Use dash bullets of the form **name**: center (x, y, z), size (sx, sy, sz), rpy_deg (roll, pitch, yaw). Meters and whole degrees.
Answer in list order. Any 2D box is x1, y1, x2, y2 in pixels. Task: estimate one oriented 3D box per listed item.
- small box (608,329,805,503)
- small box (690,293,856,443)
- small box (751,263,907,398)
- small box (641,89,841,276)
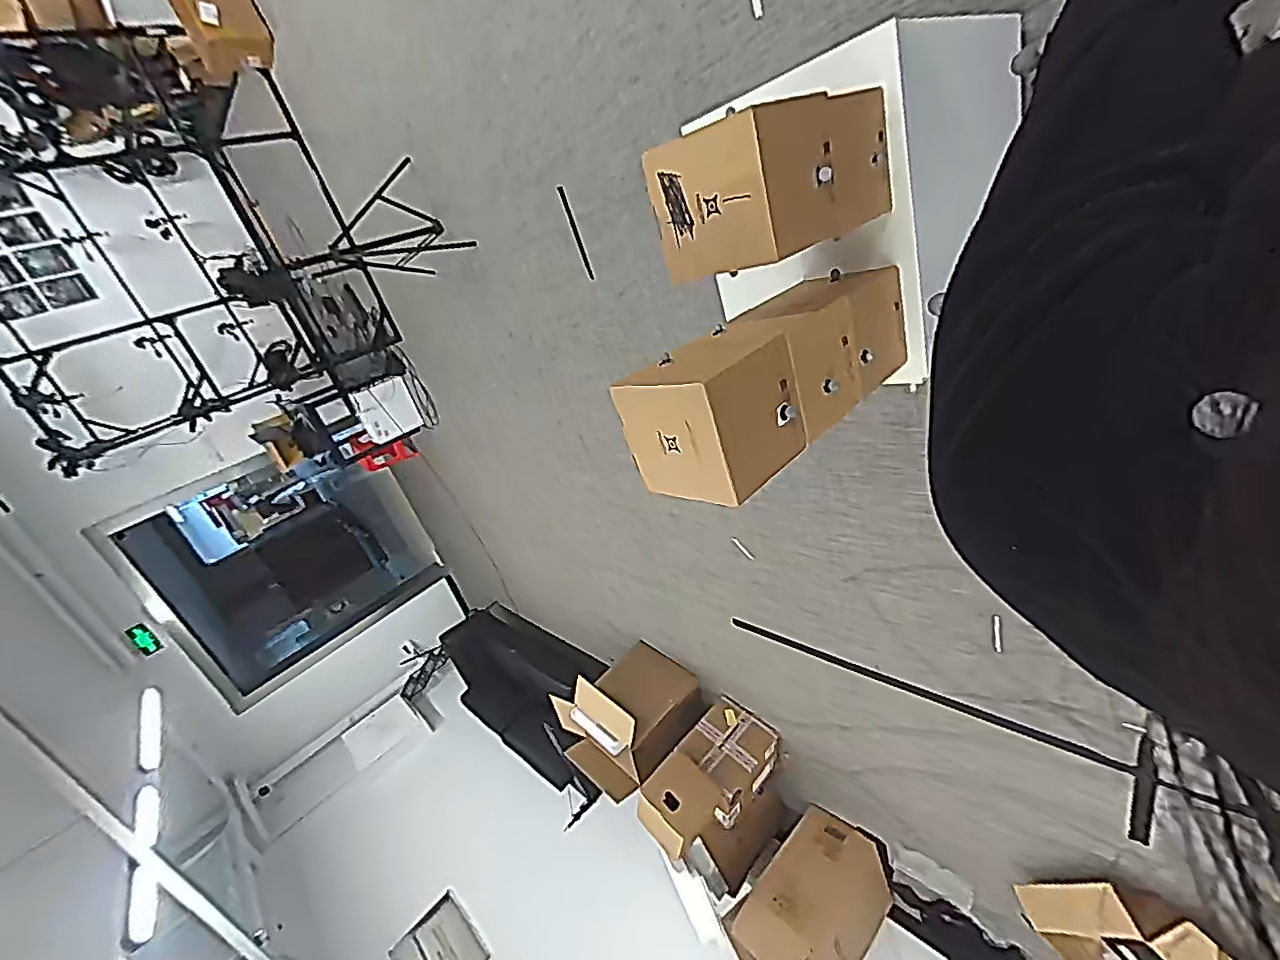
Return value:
- **small box**: center (0.092, -0.091, 0.728), size (0.179, 0.176, 0.168), rpy_deg (8, 126, 48)
- **small box**: center (0.206, -0.168, 0.814), size (0.179, 0.176, 0.168), rpy_deg (9, 127, 49)
- **small box**: center (0.318, -0.248, 0.903), size (0.179, 0.176, 0.168), rpy_deg (11, 128, 48)
- **small box**: center (0.135, -0.381, 0.707), size (0.179, 0.176, 0.168), rpy_deg (12, 129, 46)
